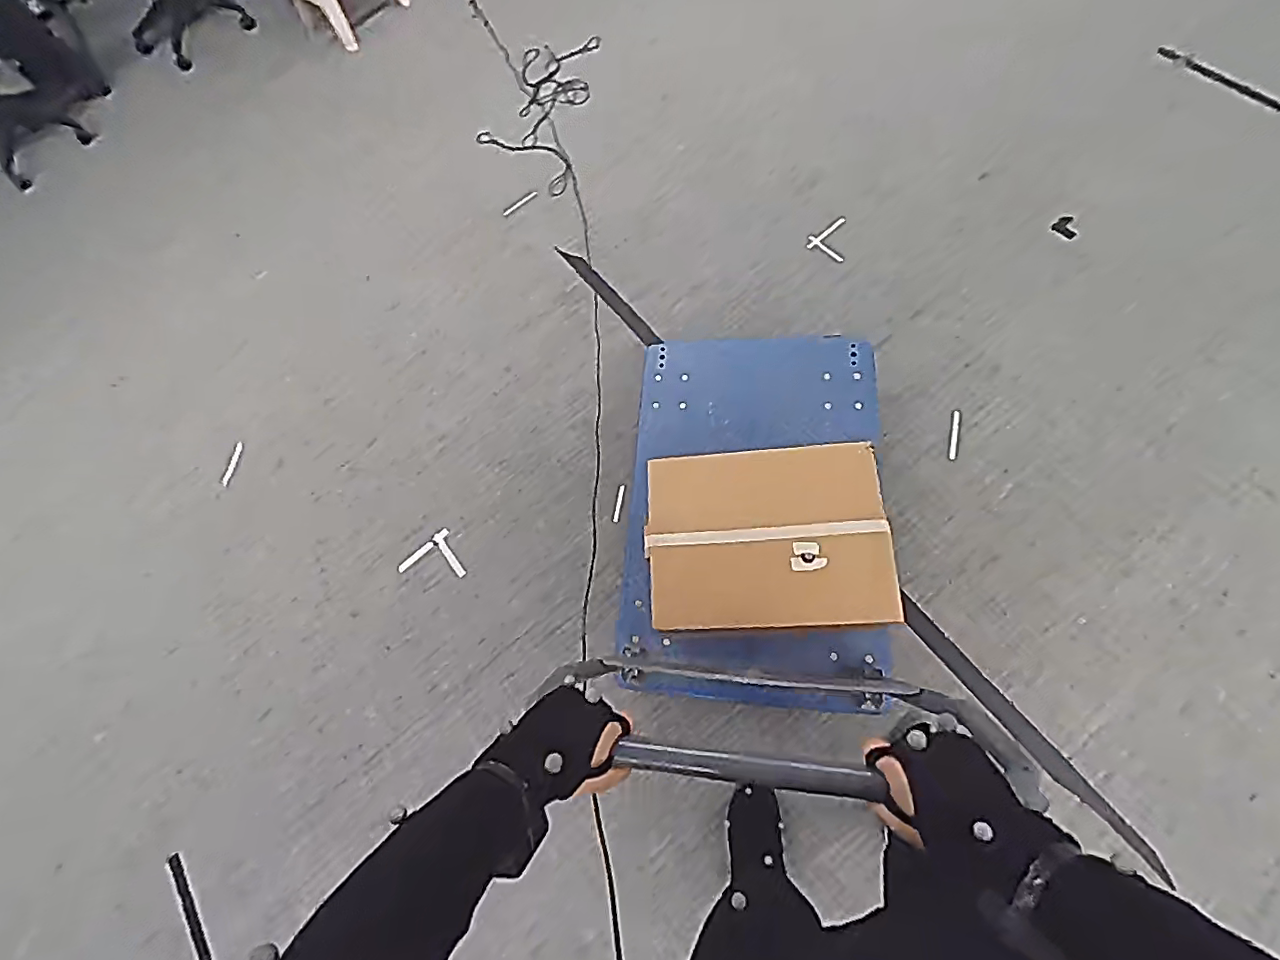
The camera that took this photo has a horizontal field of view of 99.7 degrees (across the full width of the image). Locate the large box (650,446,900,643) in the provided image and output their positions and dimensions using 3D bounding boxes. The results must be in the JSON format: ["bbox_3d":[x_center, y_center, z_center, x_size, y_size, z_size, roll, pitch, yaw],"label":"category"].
[{"bbox_3d":[0.243,0.149,1.089,0.408,0.320,0.320,-5,71,8],"label":"large box"}]
